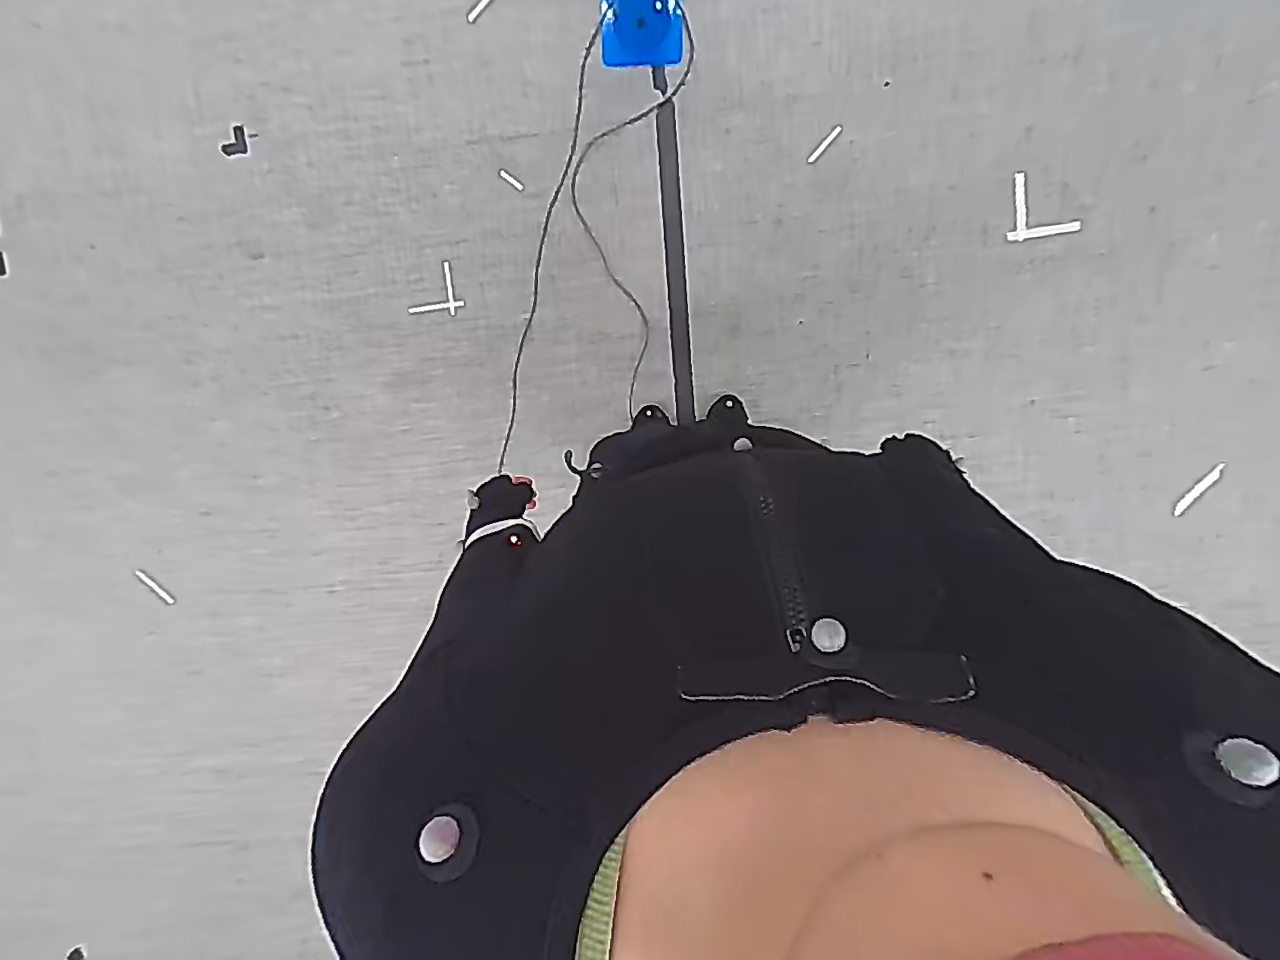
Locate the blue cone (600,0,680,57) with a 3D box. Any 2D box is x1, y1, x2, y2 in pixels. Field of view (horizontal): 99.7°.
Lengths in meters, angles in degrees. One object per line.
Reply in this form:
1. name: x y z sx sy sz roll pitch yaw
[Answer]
1. blue cone: -0.010 -1.093 1.129 0.193 0.380 0.192 -1 99 4
